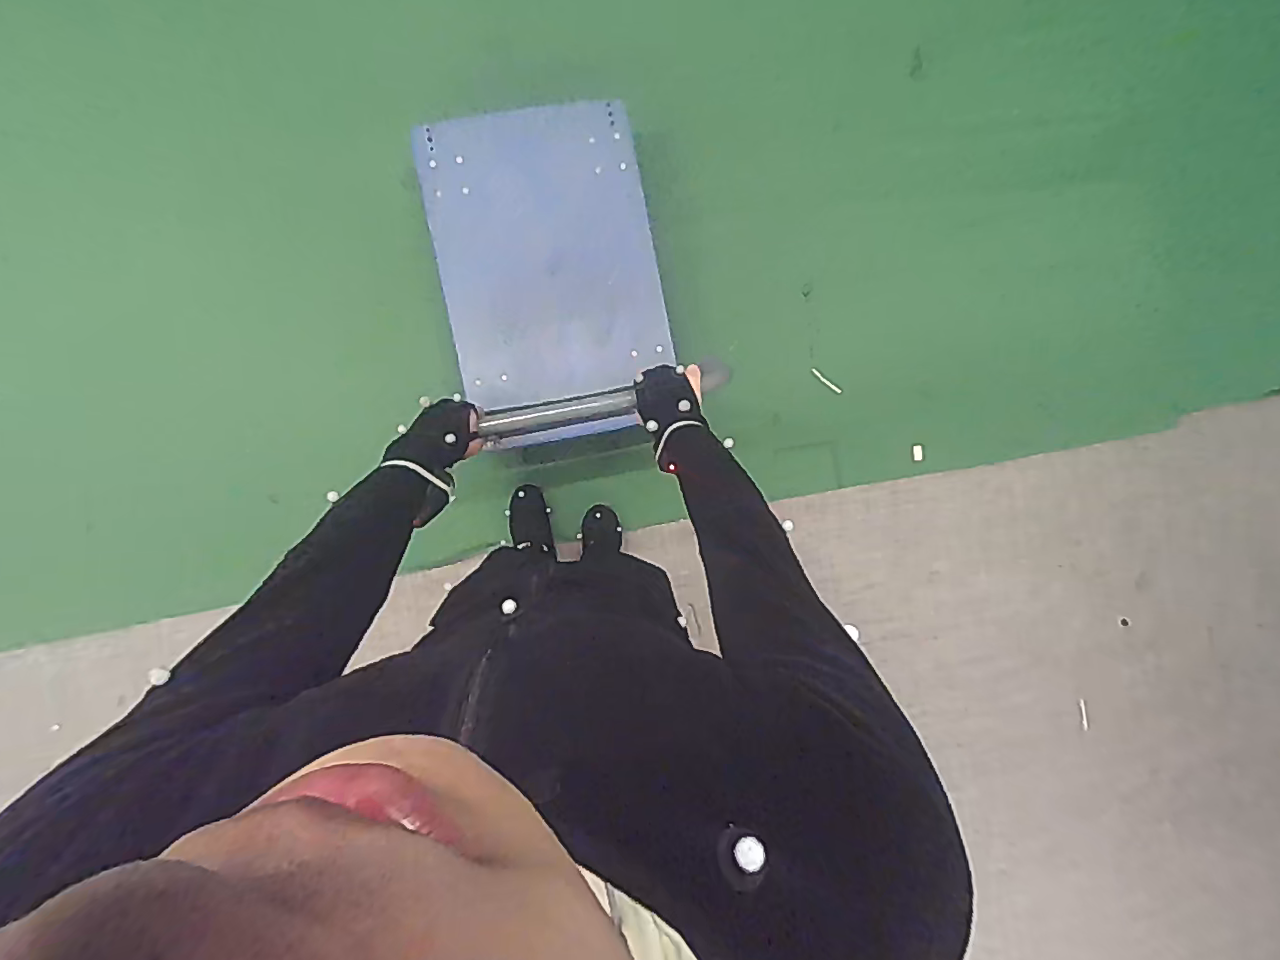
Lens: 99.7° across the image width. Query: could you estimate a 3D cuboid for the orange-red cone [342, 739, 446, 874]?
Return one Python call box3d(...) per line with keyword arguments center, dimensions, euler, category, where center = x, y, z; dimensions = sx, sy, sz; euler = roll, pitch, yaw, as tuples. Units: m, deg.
box3d(center=(-0.679, 0.883, 1.415), dimensions=(0.199, 0.360, 0.198), euler=(-25, 93, -3), category="orange-red cone")
